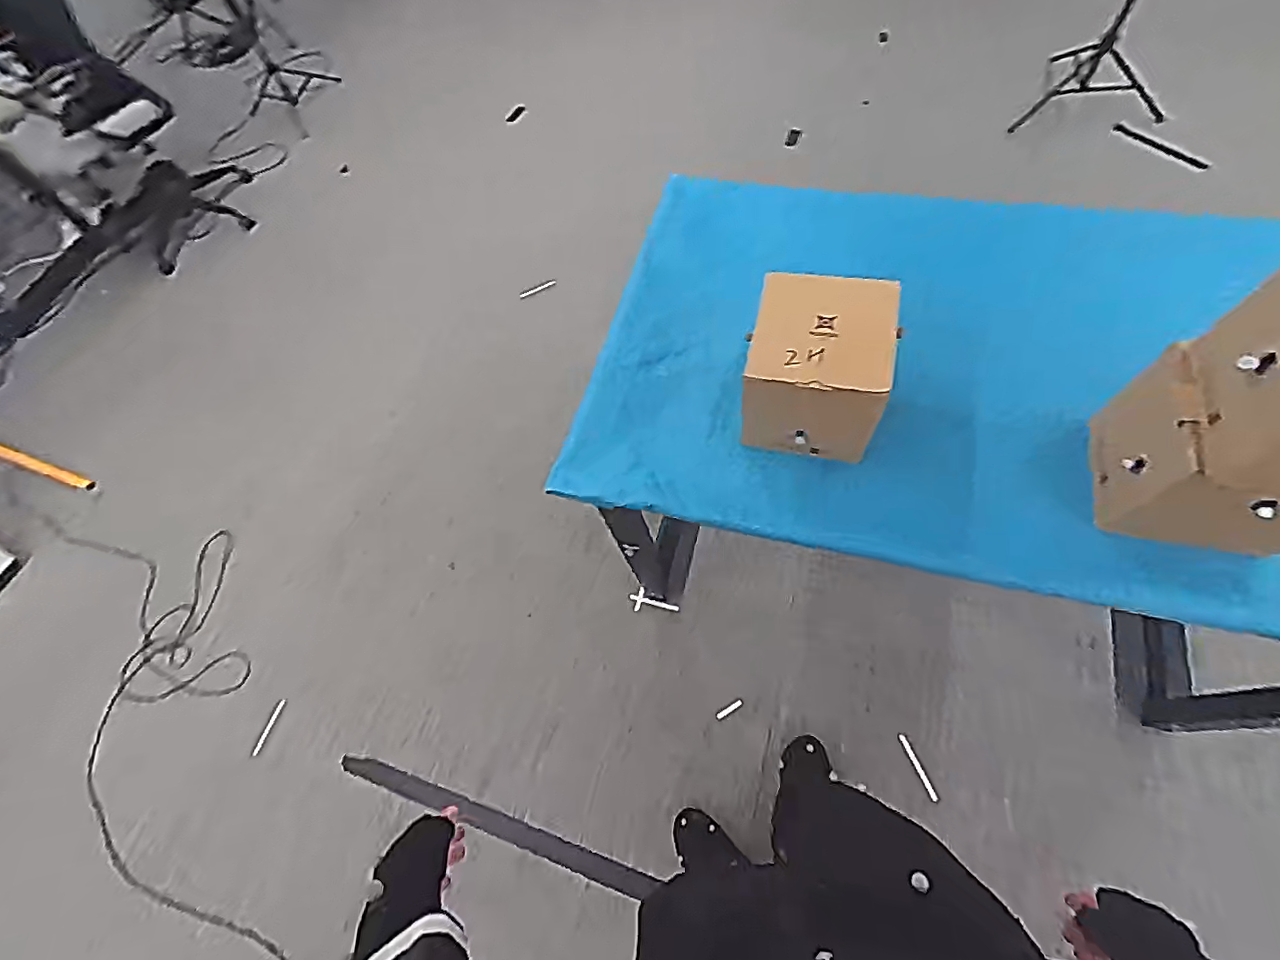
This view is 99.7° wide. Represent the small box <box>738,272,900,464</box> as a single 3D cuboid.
[{"bbox_3d":[0.232,-0.146,0.728,0.168,0.176,0.179,13,70,17],"label":"small box"}]

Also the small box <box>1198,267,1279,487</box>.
[{"bbox_3d":[0.628,-0.094,0.450,0.179,0.176,0.168,7,66,12],"label":"small box"}]

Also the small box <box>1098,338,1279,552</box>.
[{"bbox_3d":[0.648,-0.032,0.600,0.179,0.176,0.168,11,67,15],"label":"small box"}]
